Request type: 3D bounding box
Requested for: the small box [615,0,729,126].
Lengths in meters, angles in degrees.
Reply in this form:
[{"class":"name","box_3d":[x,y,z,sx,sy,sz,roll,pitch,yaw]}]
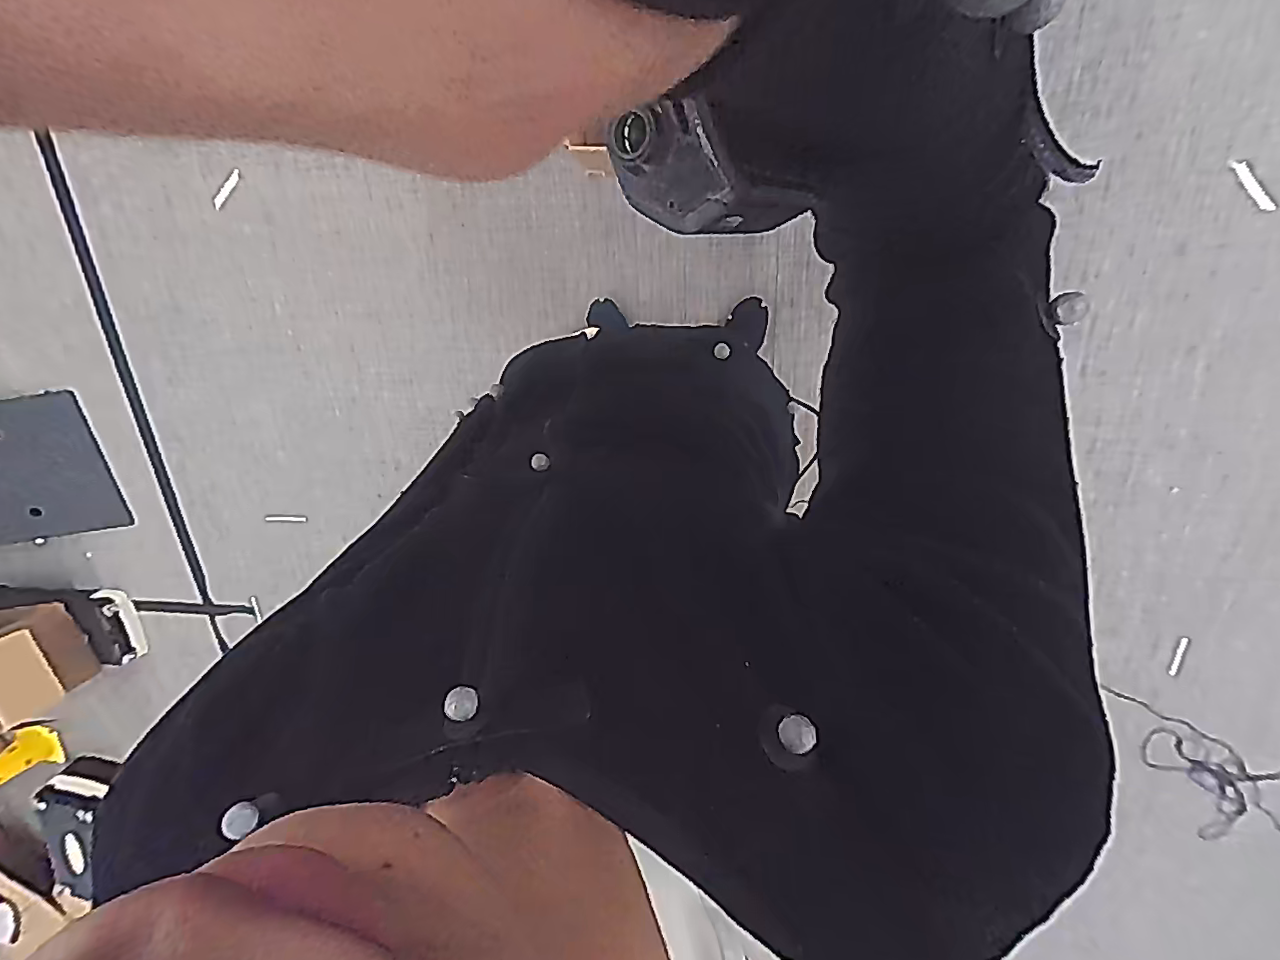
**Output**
[{"class":"small box","box_3d":[0.054,-0.707,0.876,0.168,0.176,0.179,-3,109,9]}]
